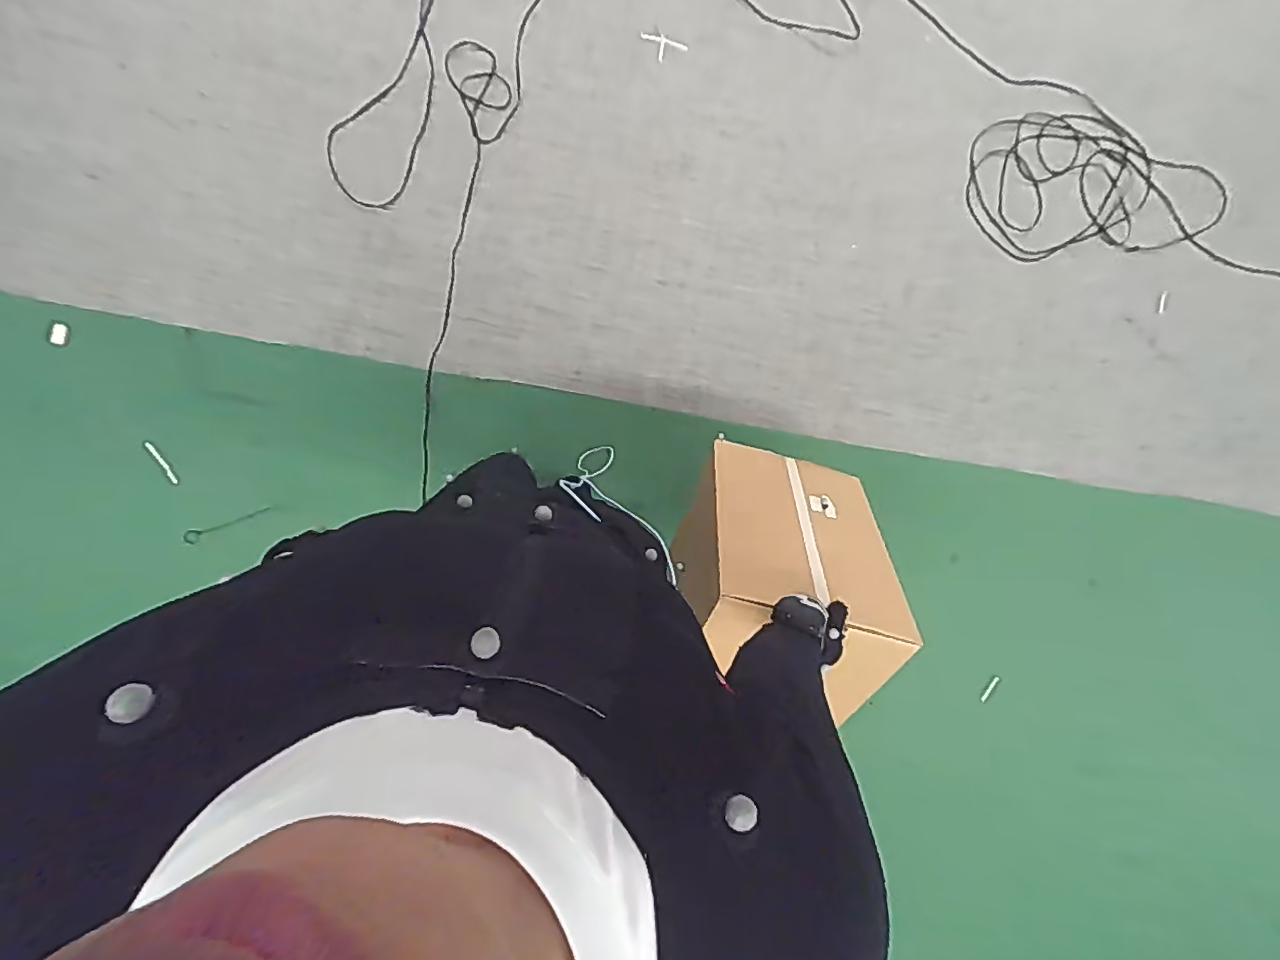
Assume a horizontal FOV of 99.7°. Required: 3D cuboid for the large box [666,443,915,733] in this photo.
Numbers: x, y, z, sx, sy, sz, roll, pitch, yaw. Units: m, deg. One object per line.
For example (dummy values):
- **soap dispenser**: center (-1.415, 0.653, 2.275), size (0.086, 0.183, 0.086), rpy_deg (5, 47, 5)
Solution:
- **large box**: center (0.240, 0.196, 1.029), size (0.320, 0.408, 0.320), rpy_deg (16, 127, -6)
